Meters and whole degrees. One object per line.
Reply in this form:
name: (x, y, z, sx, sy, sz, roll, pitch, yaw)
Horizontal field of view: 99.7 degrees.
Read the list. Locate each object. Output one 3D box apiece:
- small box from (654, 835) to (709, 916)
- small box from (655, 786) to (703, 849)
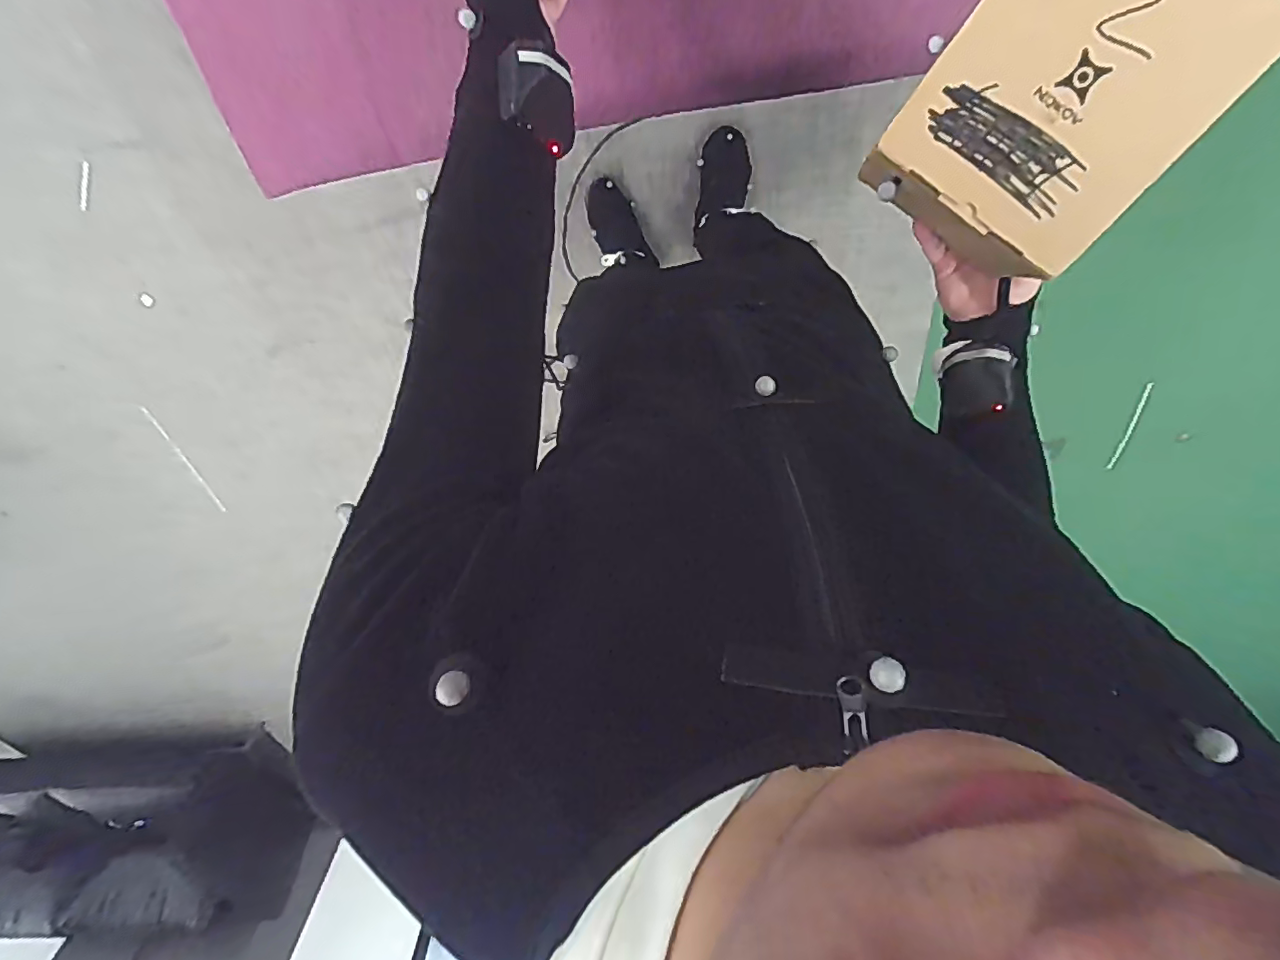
small box: (0.141, 1.347, 1.843, 0.168, 0.176, 0.179, 5, 124, 0)
small box: (0.145, 1.248, 1.974, 0.168, 0.176, 0.179, -3, 124, 6)
